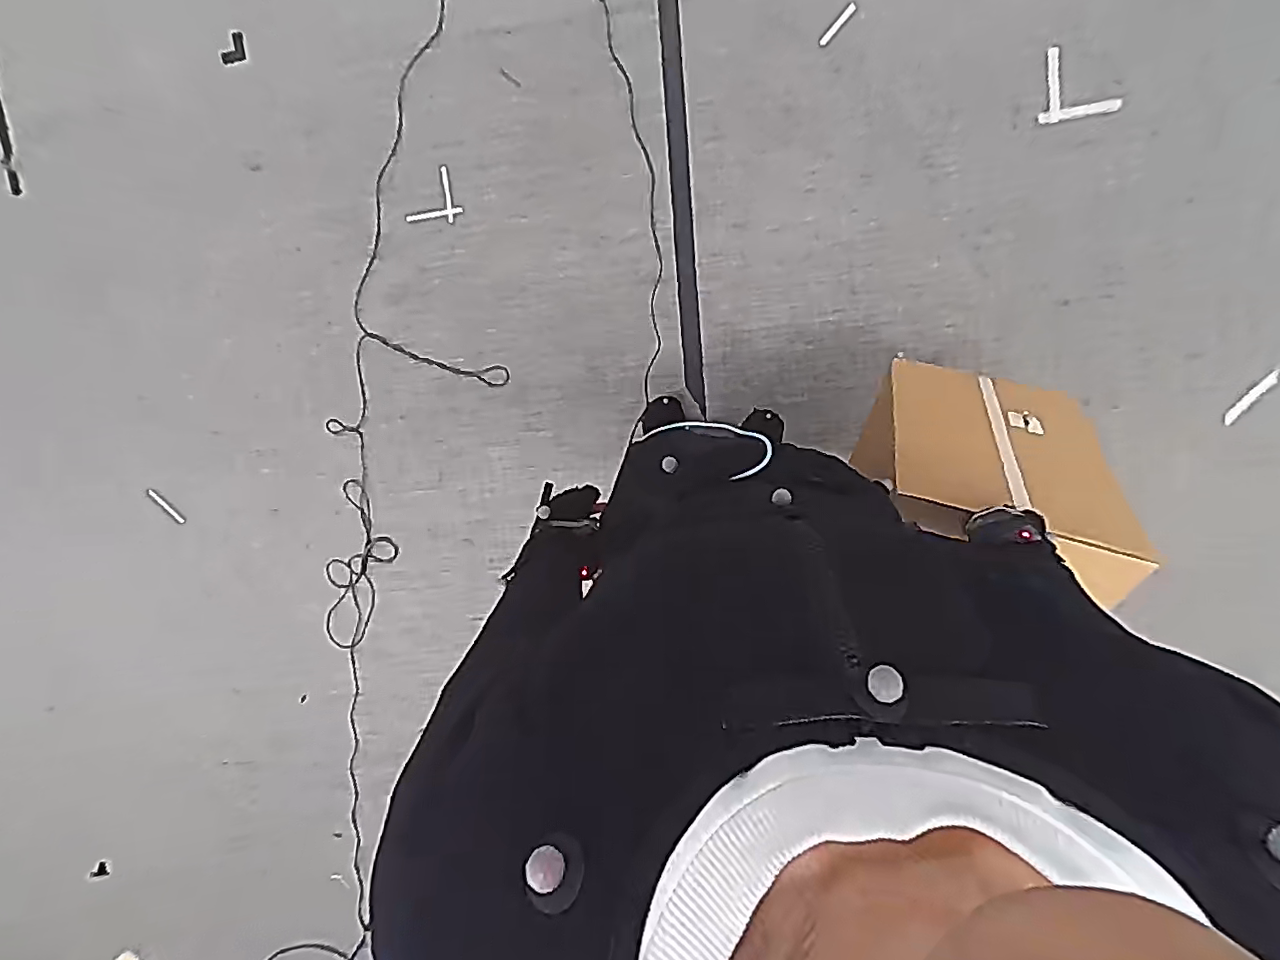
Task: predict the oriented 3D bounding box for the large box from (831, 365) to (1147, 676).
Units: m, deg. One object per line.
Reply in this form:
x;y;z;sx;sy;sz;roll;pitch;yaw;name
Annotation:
0.533;0.053;0.938;0.320;0.408;0.320;16;131;10;large box
